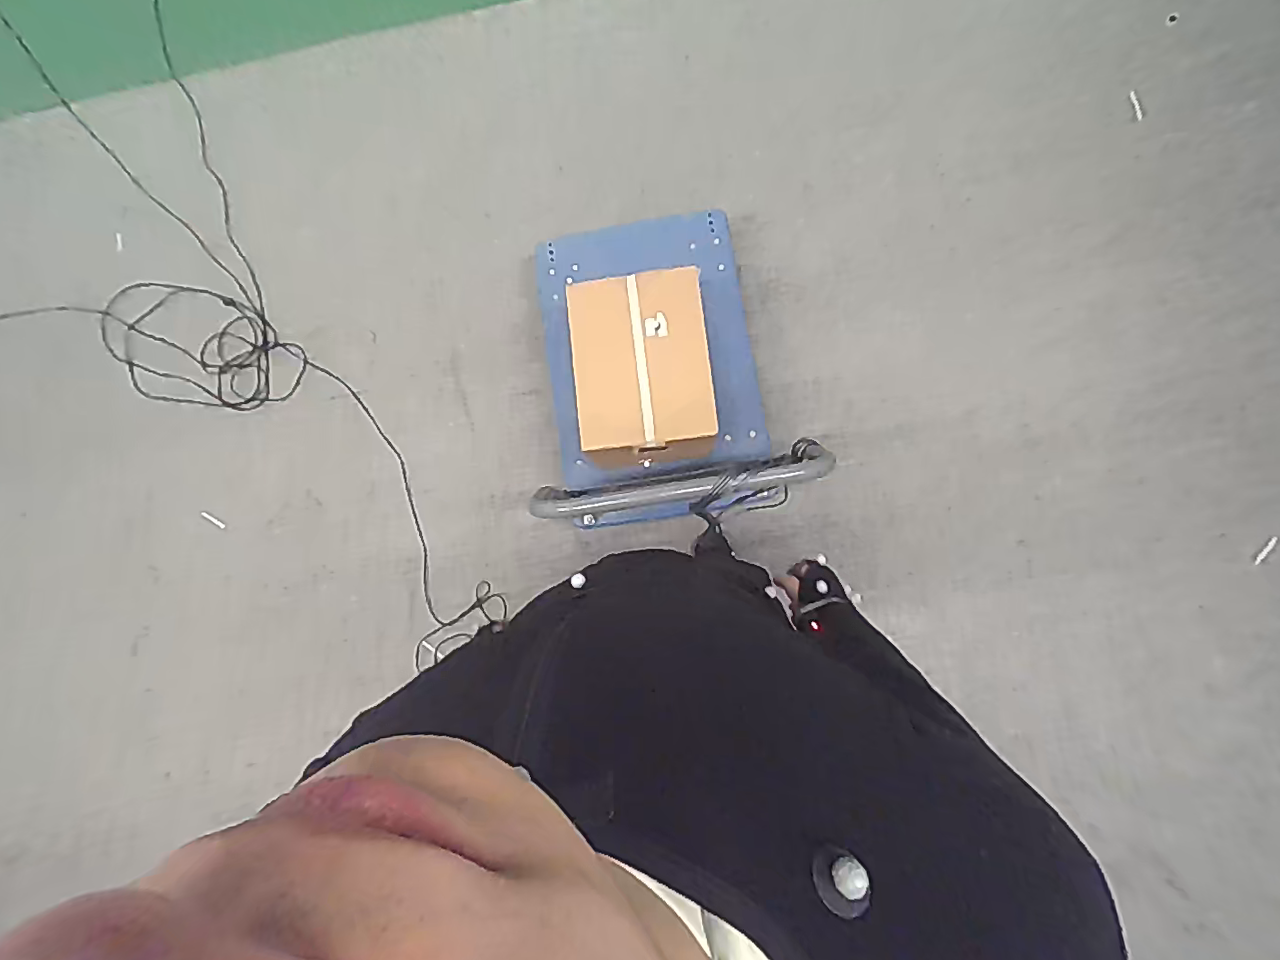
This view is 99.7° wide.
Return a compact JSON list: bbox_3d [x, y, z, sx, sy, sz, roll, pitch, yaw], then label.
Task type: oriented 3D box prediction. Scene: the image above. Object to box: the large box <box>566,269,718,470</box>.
[{"bbox_3d":[0.011,-0.261,1.388,0.320,0.320,0.408,-7,82,3],"label":"large box"}]
